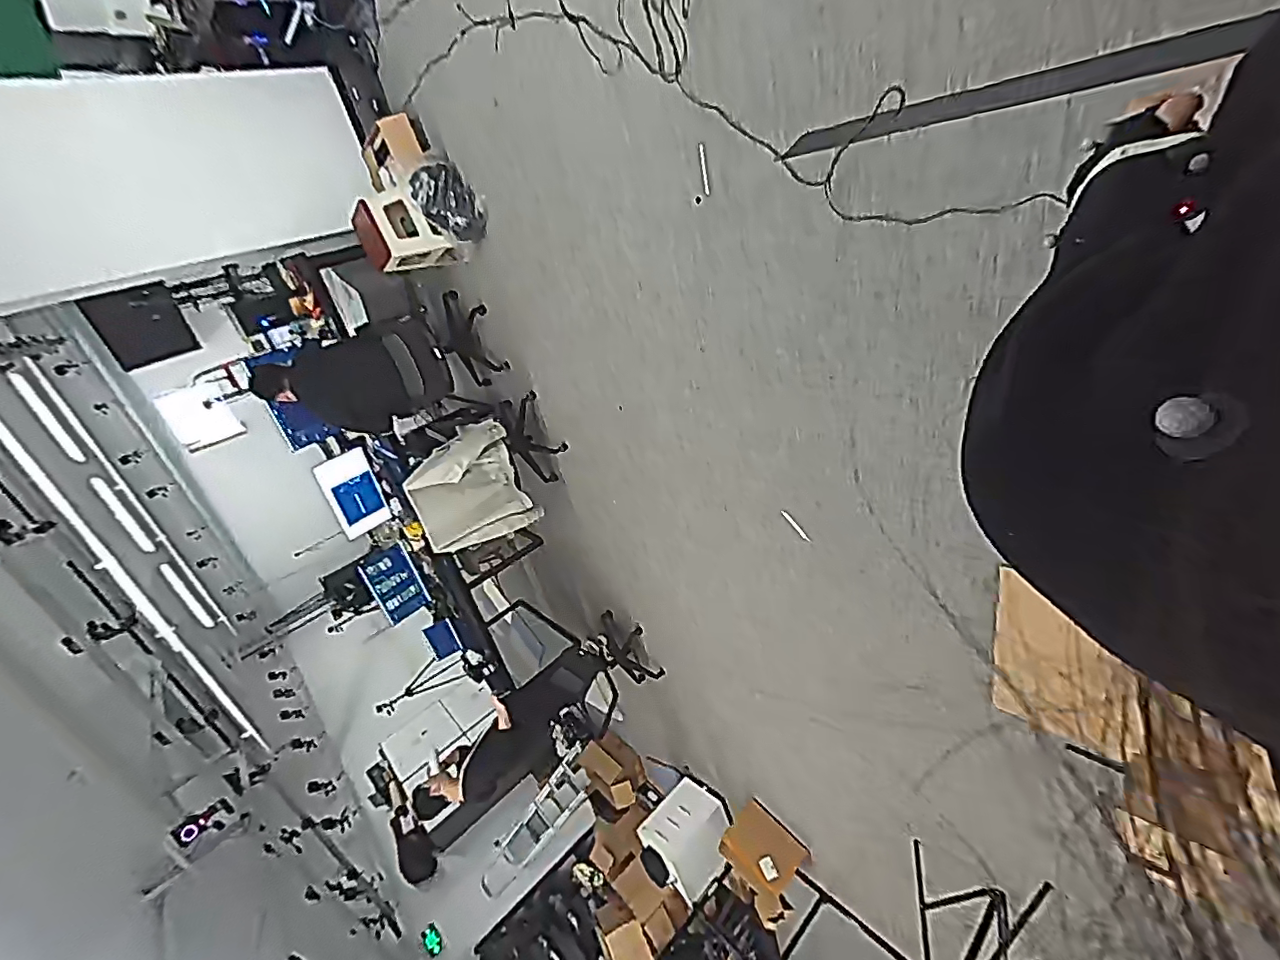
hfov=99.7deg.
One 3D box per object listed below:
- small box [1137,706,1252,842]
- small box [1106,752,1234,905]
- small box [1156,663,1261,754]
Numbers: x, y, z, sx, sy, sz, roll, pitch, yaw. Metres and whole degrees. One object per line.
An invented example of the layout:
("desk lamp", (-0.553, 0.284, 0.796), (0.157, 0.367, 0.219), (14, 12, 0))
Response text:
("small box", (1.260, 0.663, 1.237), (0.168, 0.176, 0.179), (12, 128, 49))
("small box", (1.134, 0.736, 1.159), (0.168, 0.176, 0.179), (13, 127, 50))
("small box", (1.377, 0.585, 1.321), (0.168, 0.176, 0.179), (14, 128, 49))
